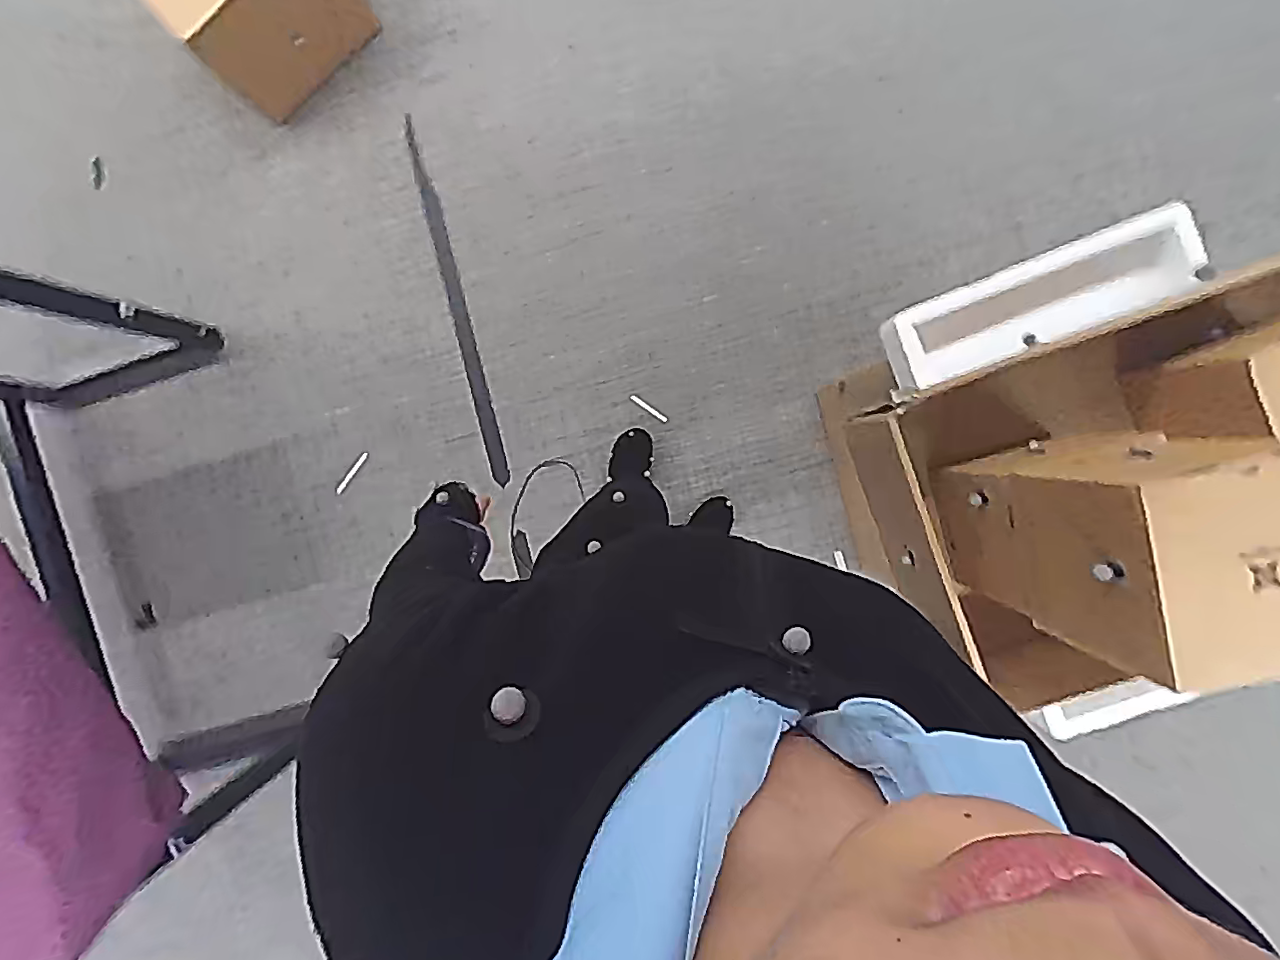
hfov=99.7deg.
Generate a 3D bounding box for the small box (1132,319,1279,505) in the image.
[{"bbox_3d":[0.745,-0.087,0.632,0.168,0.176,0.179,-23,93,5],"label":"small box"}]

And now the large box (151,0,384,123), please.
[{"bbox_3d":[-0.937,-1.214,1.328,0.408,0.320,0.320,-41,90,4],"label":"large box"}]
